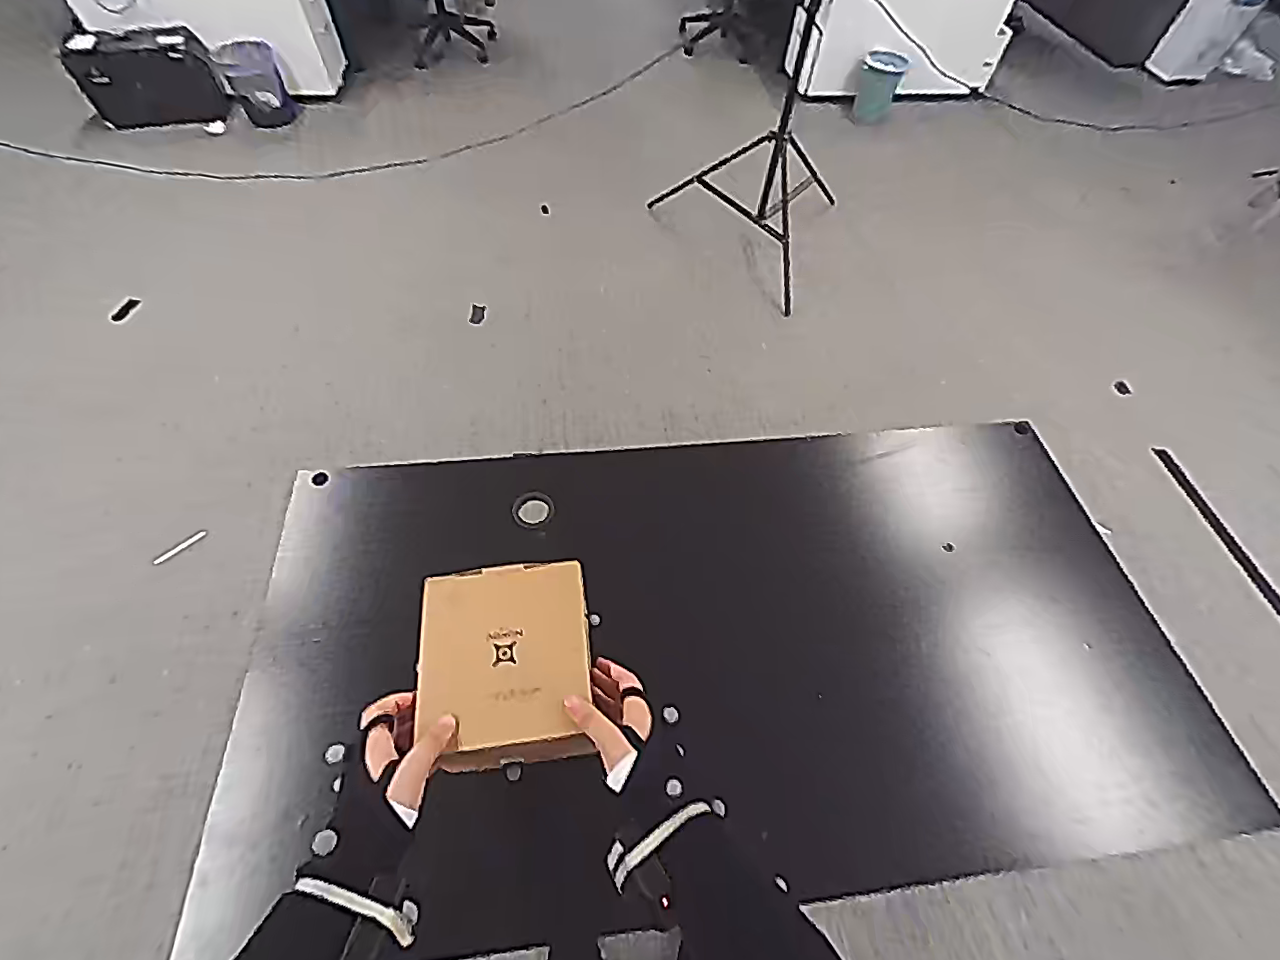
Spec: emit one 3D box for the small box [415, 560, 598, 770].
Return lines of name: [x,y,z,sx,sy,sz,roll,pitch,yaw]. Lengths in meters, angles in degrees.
small box: [-0.139,0.211,0.608,0.168,0.176,0.179,-7,58,-6]
